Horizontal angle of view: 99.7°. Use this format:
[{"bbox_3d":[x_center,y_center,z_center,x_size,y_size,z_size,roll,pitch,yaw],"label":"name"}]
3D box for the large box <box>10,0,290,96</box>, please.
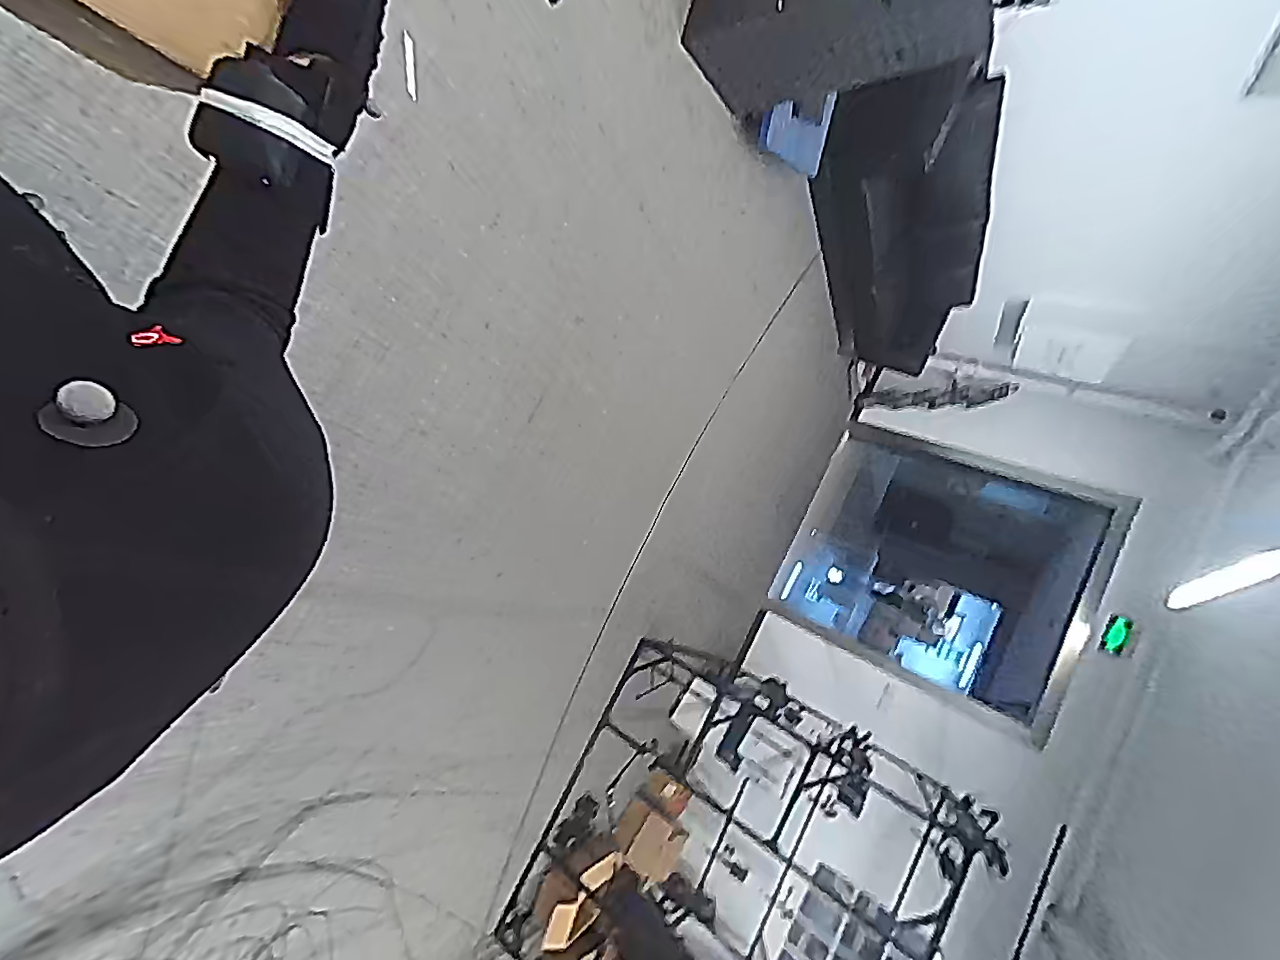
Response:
[{"bbox_3d":[-0.428,-0.499,0.279,0.408,0.320,0.320,14,105,-59],"label":"large box"}]
